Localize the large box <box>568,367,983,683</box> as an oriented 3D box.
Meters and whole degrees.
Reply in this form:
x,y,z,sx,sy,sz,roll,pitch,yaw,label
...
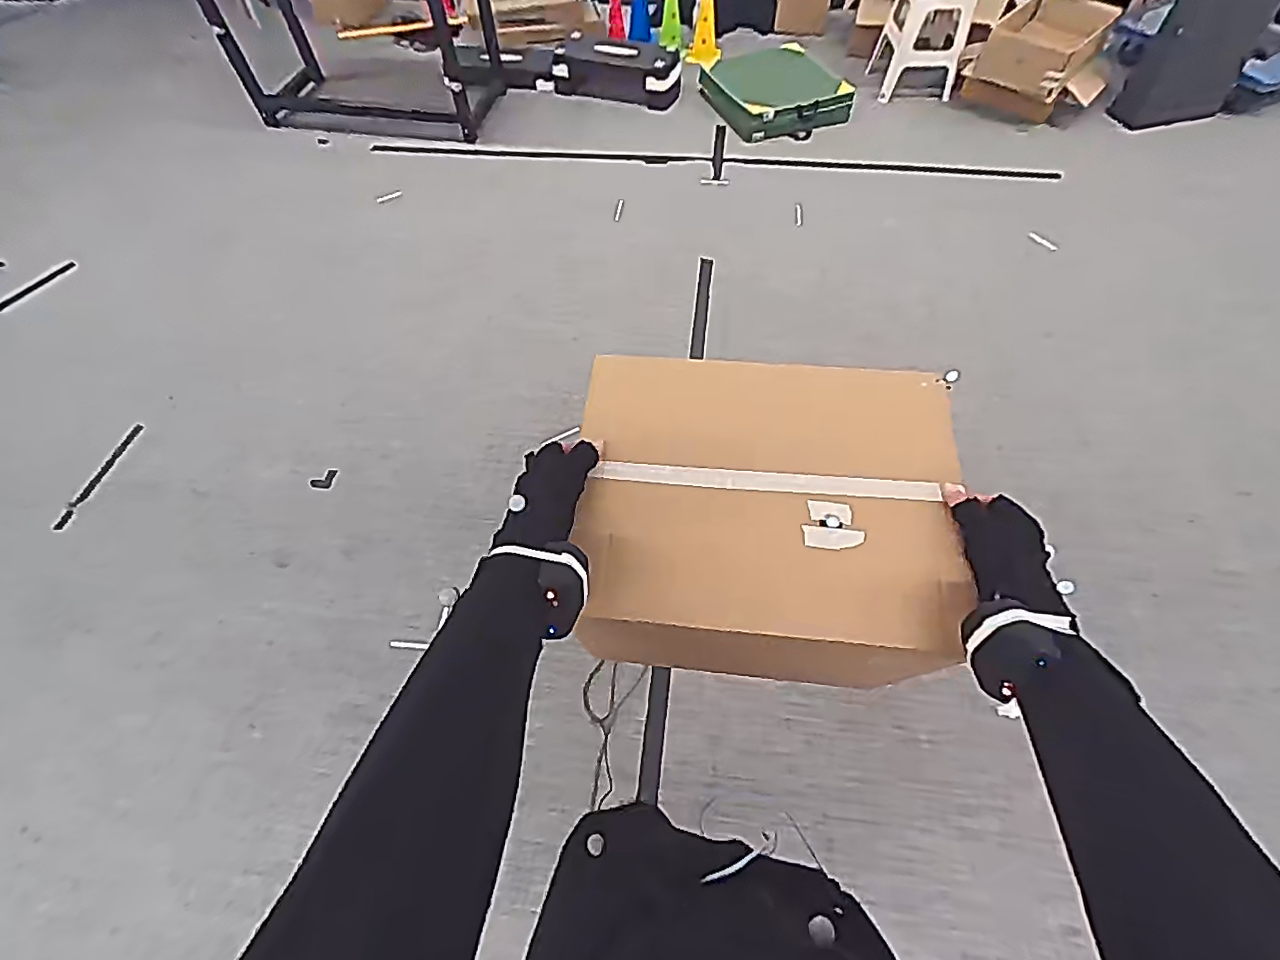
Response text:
x,y,z,sx,sy,sz,roll,pitch,yaw,label
0.144,0.075,0.715,0.408,0.320,0.320,5,65,6,large box
